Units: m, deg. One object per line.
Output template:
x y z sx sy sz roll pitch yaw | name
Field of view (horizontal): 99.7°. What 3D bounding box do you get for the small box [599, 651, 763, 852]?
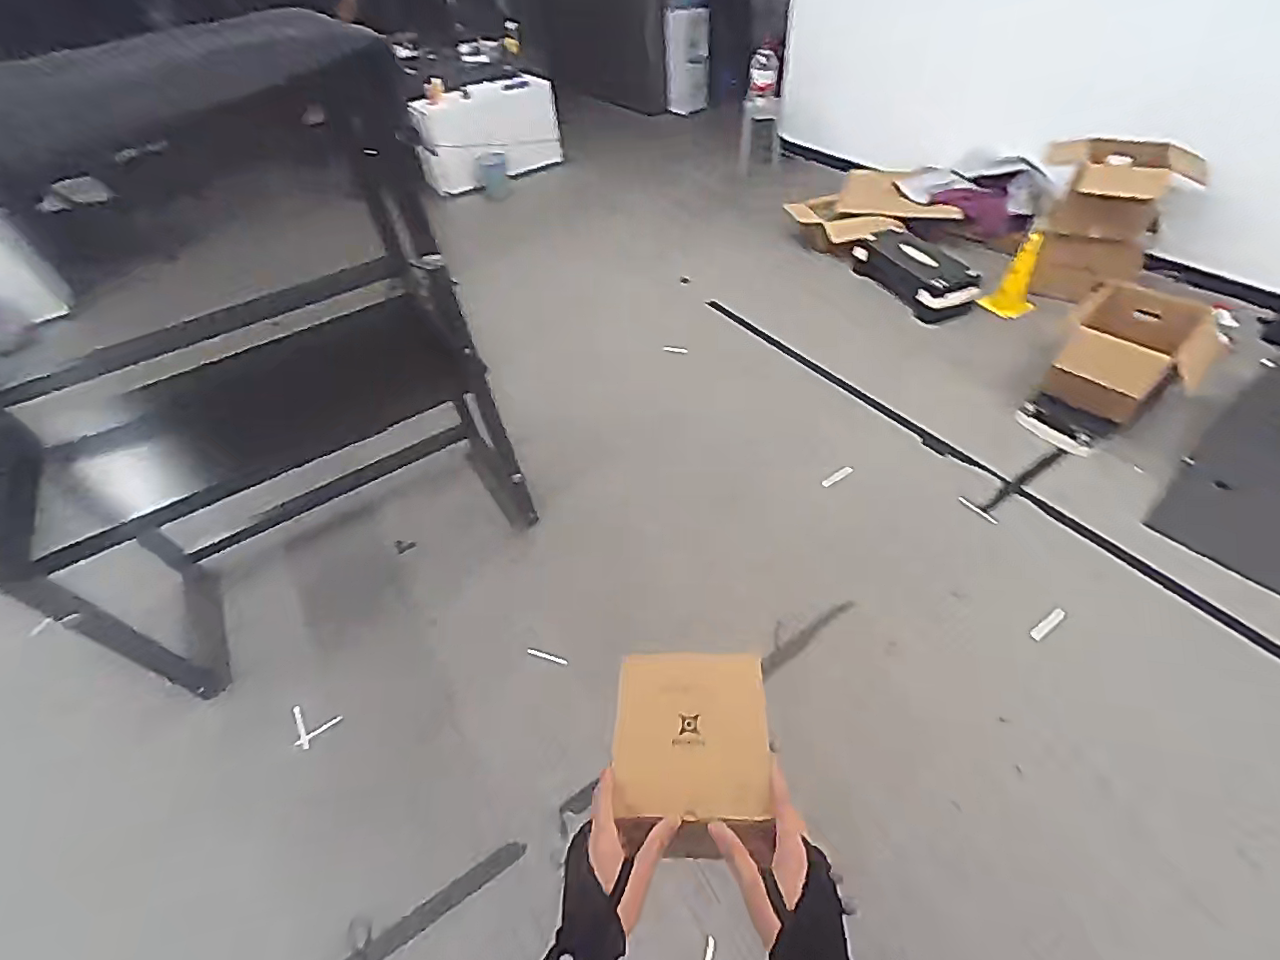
0.055 0.323 0.638 0.168 0.176 0.179 -4 45 7 | small box
